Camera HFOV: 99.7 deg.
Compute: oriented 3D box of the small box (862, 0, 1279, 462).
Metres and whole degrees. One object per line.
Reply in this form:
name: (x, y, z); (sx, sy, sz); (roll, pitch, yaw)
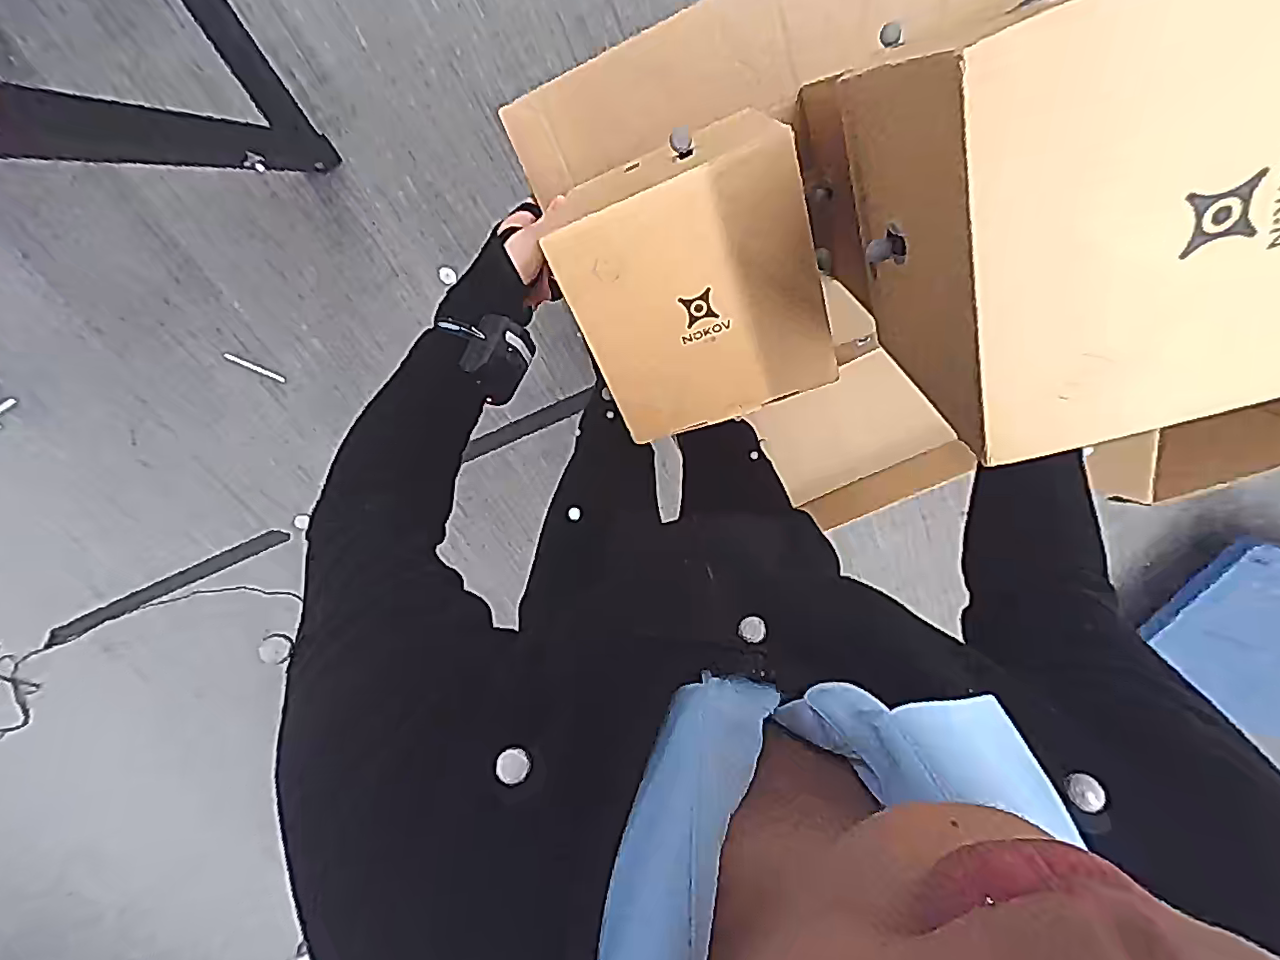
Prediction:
small box: (0.212, -0.137, 0.243); (0.179, 0.176, 0.168); (-16, 121, 14)
